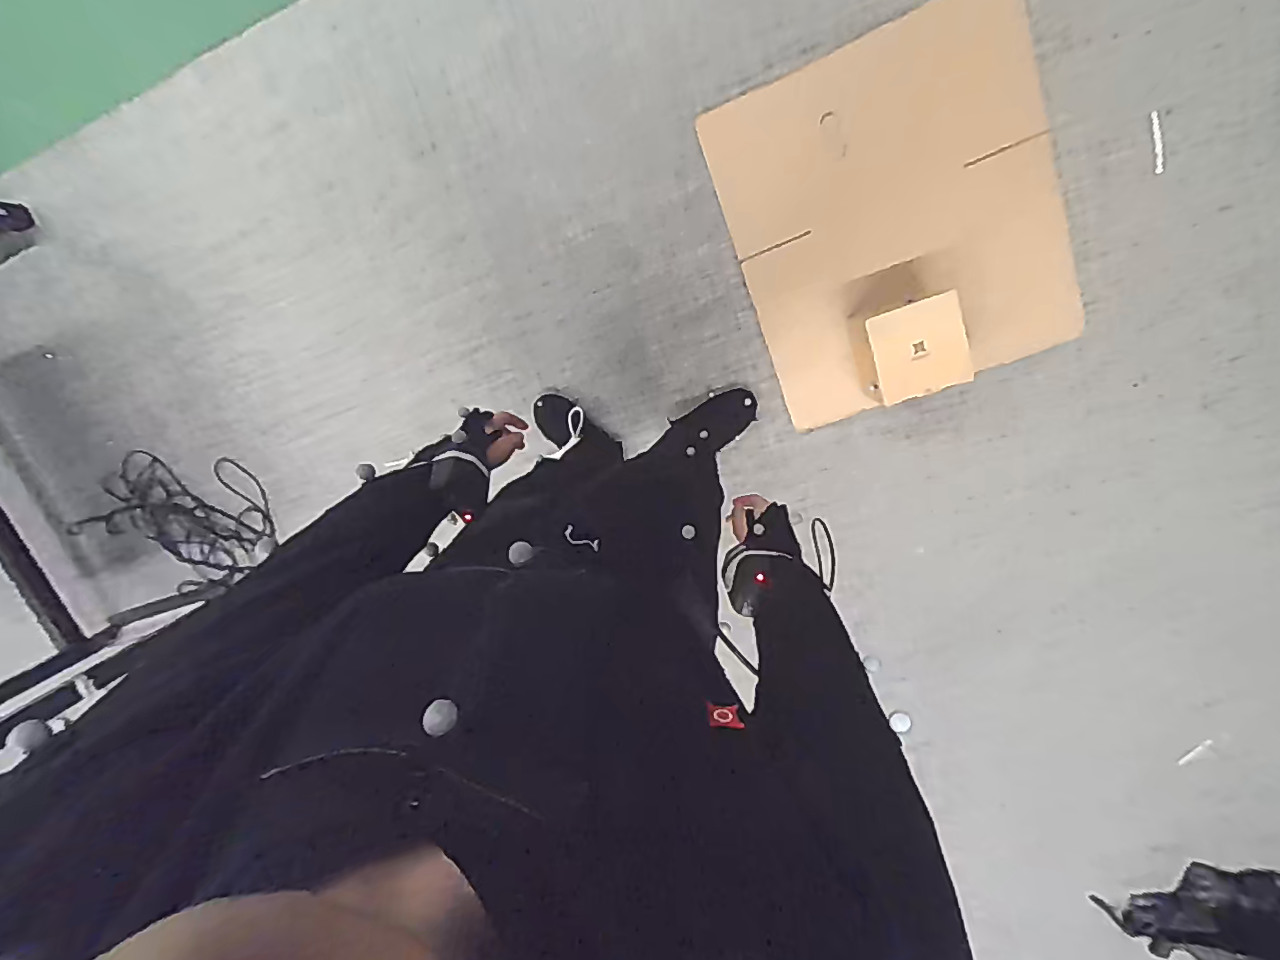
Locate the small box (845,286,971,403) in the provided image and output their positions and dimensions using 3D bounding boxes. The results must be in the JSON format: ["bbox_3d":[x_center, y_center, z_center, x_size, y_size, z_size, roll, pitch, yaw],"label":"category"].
[{"bbox_3d":[0.529,-0.273,1.087,0.168,0.176,0.179,-17,105,13],"label":"small box"}]
